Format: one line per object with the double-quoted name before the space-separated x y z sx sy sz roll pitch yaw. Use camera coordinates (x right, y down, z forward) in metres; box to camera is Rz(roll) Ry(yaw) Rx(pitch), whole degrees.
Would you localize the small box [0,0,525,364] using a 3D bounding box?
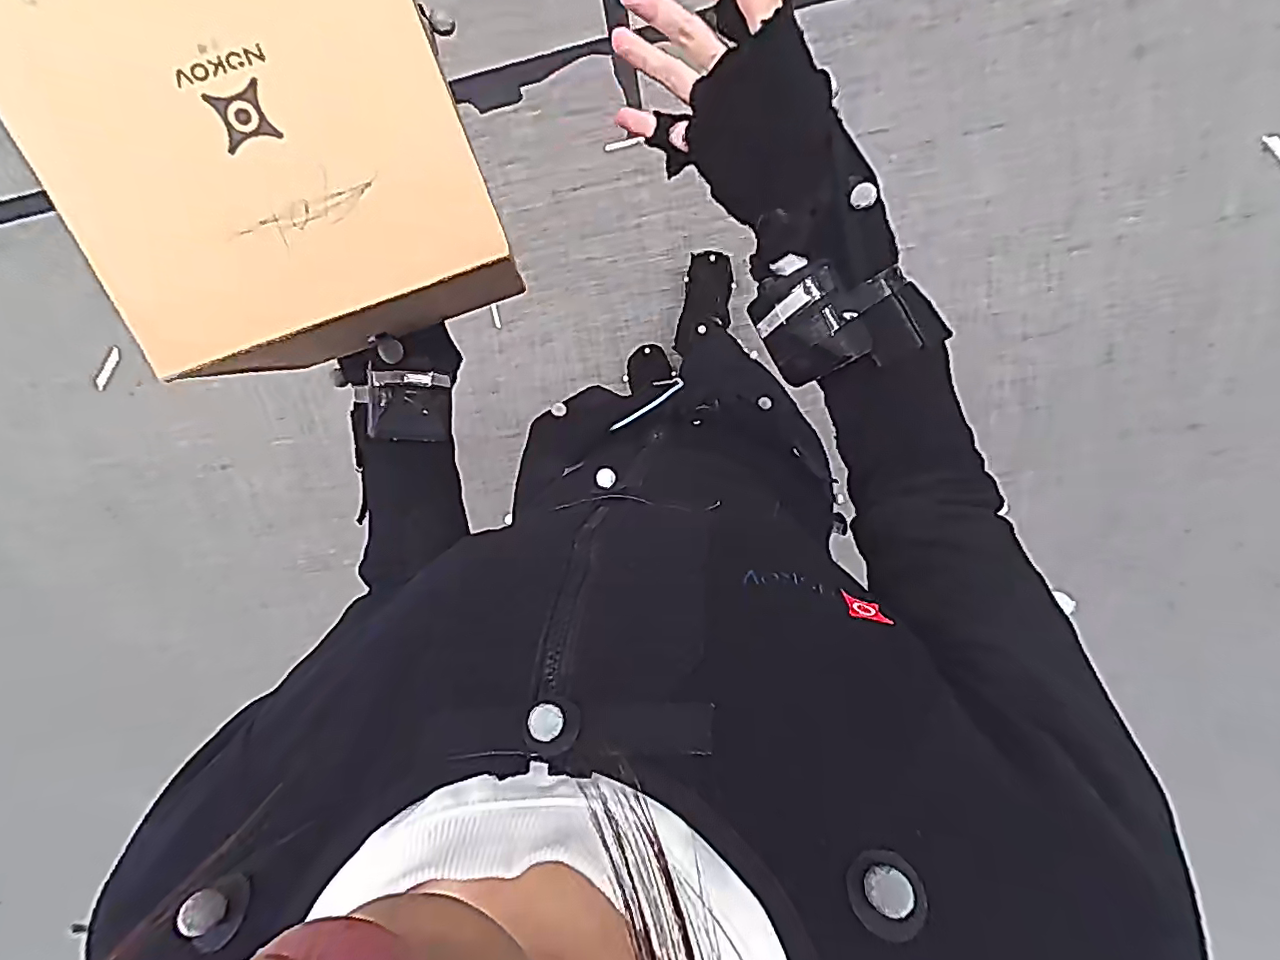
"small box" -0.176 -0.175 0.312 0.168 0.176 0.179 -21 106 -4
